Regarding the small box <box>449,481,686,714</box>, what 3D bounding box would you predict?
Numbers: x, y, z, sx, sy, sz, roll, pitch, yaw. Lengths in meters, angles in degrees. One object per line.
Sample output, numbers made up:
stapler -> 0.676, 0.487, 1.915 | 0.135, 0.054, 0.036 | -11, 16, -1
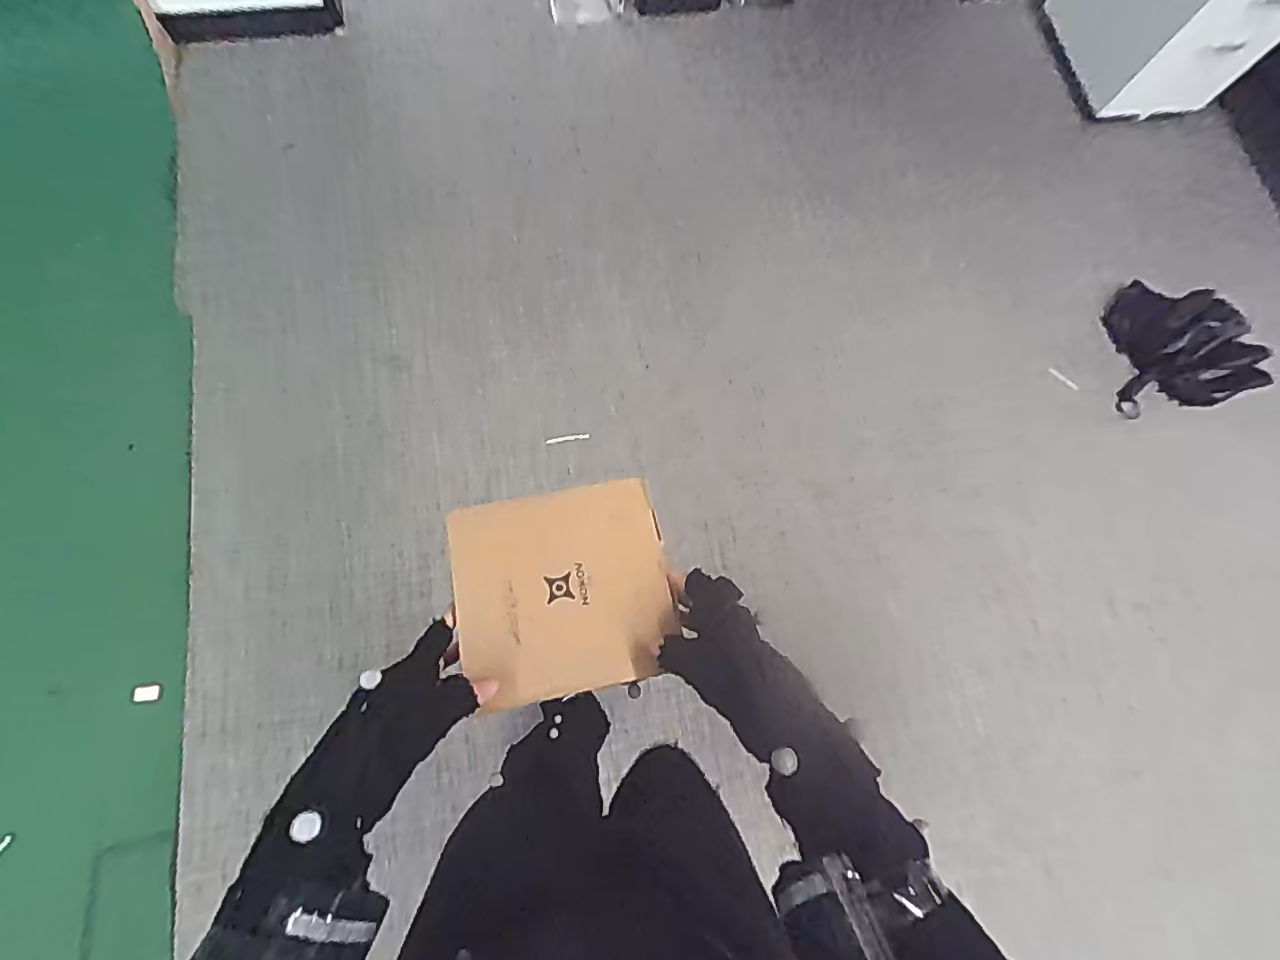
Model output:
small box -> -0.068, 0.116, 0.523 | 0.179, 0.176, 0.168 | -11, 71, -7
